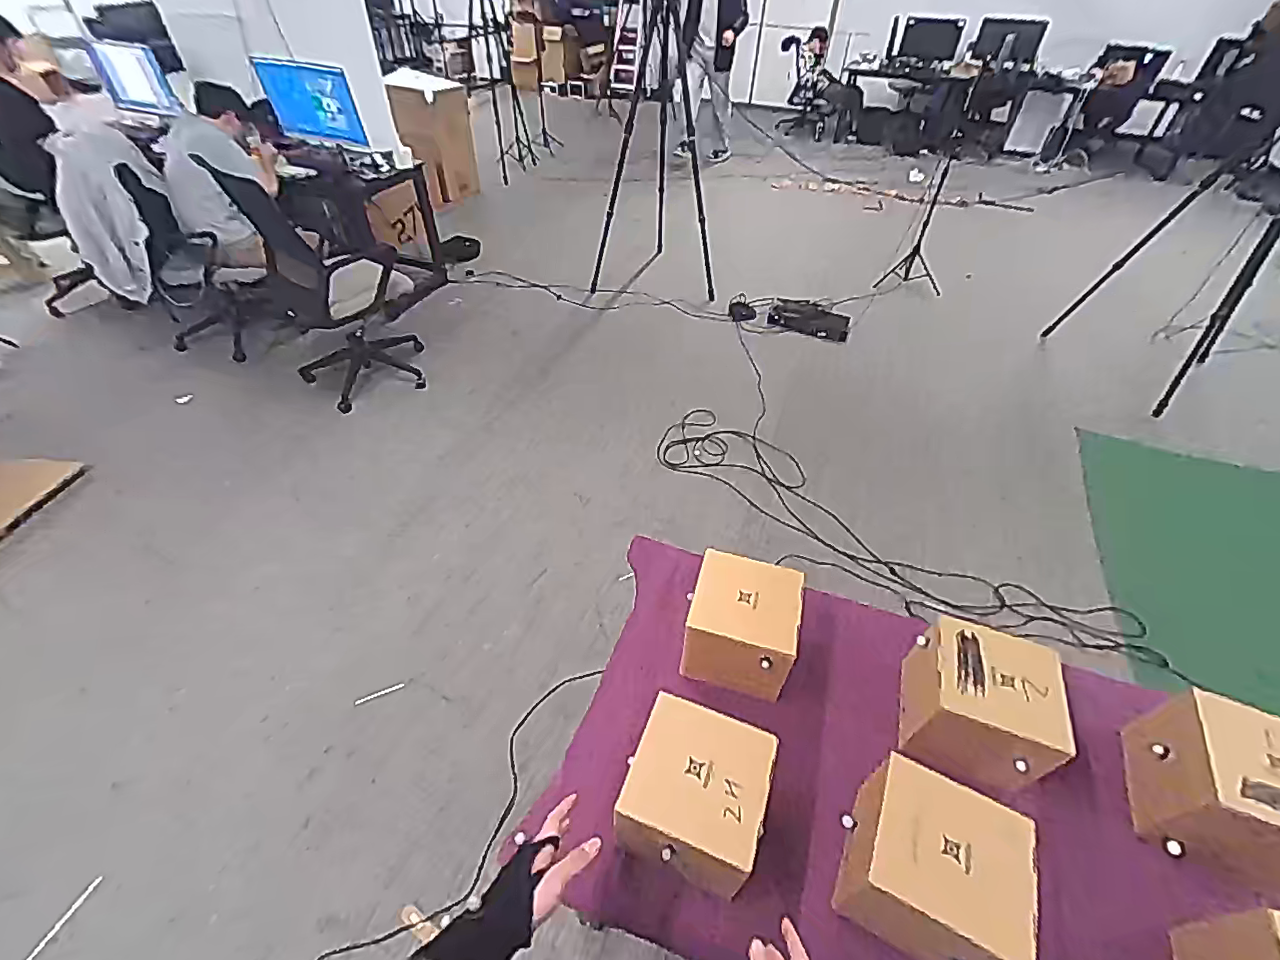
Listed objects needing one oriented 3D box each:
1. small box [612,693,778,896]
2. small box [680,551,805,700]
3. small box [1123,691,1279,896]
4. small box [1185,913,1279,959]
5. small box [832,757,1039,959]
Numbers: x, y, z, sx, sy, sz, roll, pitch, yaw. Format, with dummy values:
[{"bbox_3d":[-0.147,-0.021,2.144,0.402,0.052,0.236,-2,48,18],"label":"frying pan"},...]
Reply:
[{"bbox_3d":[0.072,0.435,0.746,0.179,0.176,0.168,17,45,15],"label":"small box"},{"bbox_3d":[0.174,0.255,0.942,0.179,0.176,0.168,14,45,11],"label":"small box"},{"bbox_3d":[0.839,0.446,0.768,0.168,0.176,0.179,21,46,18],"label":"small box"},{"bbox_3d":[0.747,0.621,0.582,0.179,0.176,0.168,19,46,18],"label":"small box"},{"bbox_3d":[0.371,0.502,0.693,0.179,0.176,0.168,21,46,20],"label":"small box"}]
